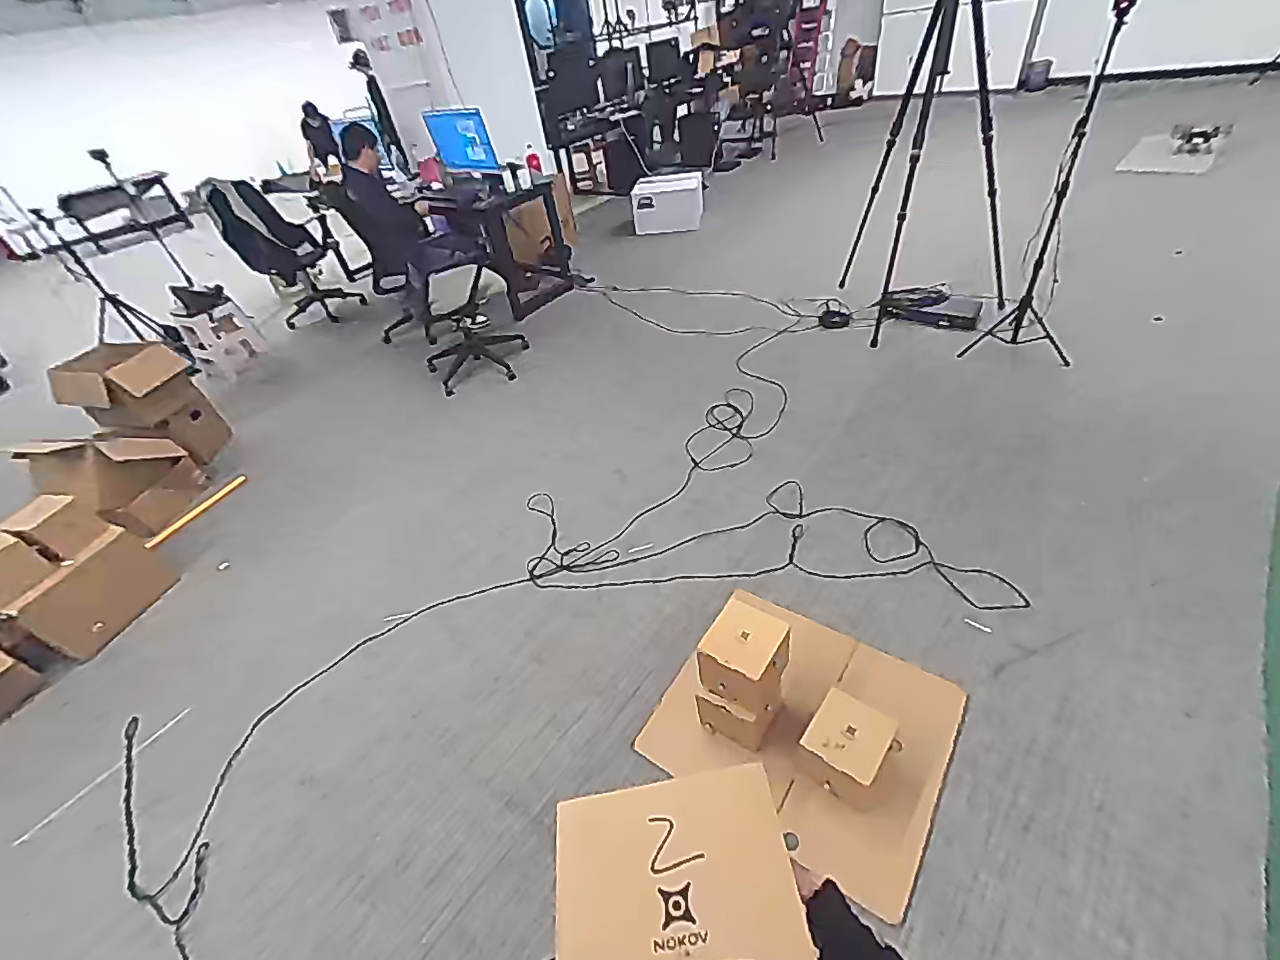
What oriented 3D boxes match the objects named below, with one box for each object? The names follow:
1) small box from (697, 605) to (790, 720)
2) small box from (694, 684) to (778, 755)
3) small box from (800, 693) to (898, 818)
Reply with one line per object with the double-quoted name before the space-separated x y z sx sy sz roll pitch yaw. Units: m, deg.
"small box" 0.258 0.453 1.348 0.168 0.176 0.179 20 49 32
"small box" 0.262 0.591 1.438 0.168 0.176 0.179 18 47 30
"small box" 0.496 0.664 1.303 0.168 0.176 0.179 23 51 35
